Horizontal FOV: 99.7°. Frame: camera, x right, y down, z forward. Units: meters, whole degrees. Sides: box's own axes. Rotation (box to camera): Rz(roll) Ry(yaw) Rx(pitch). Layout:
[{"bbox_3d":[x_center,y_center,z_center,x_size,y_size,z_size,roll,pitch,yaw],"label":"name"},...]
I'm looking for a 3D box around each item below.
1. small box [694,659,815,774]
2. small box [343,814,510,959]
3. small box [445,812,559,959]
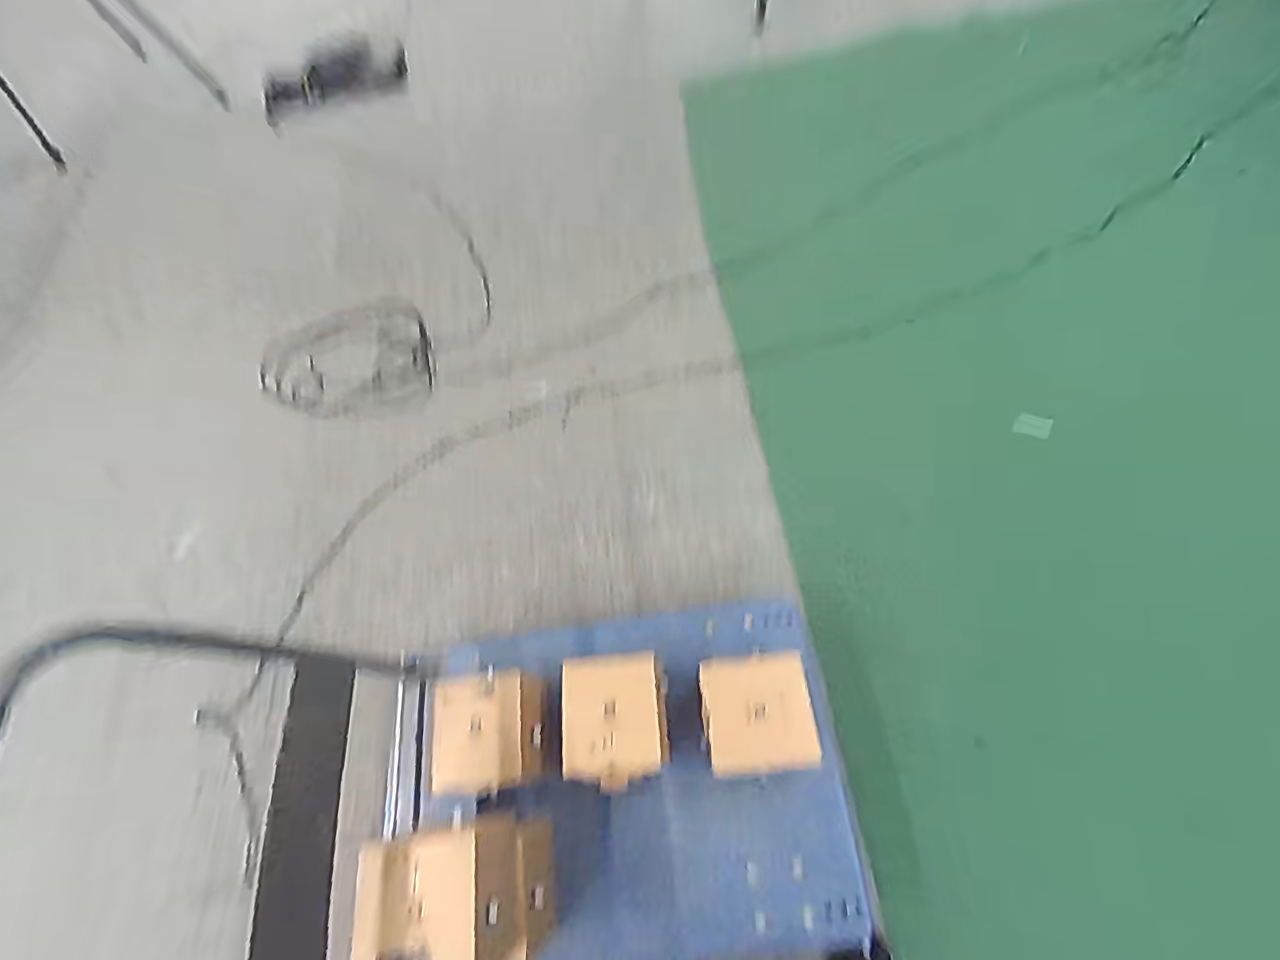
[{"bbox_3d":[0.196,0.422,0.963,0.179,0.176,0.168,-8,65,5],"label":"small box"},{"bbox_3d":[-0.289,0.594,0.766,0.168,0.176,0.179,-9,63,3],"label":"small box"},{"bbox_3d":[-0.263,0.687,0.910,0.179,0.176,0.168,19,71,17],"label":"small box"}]
